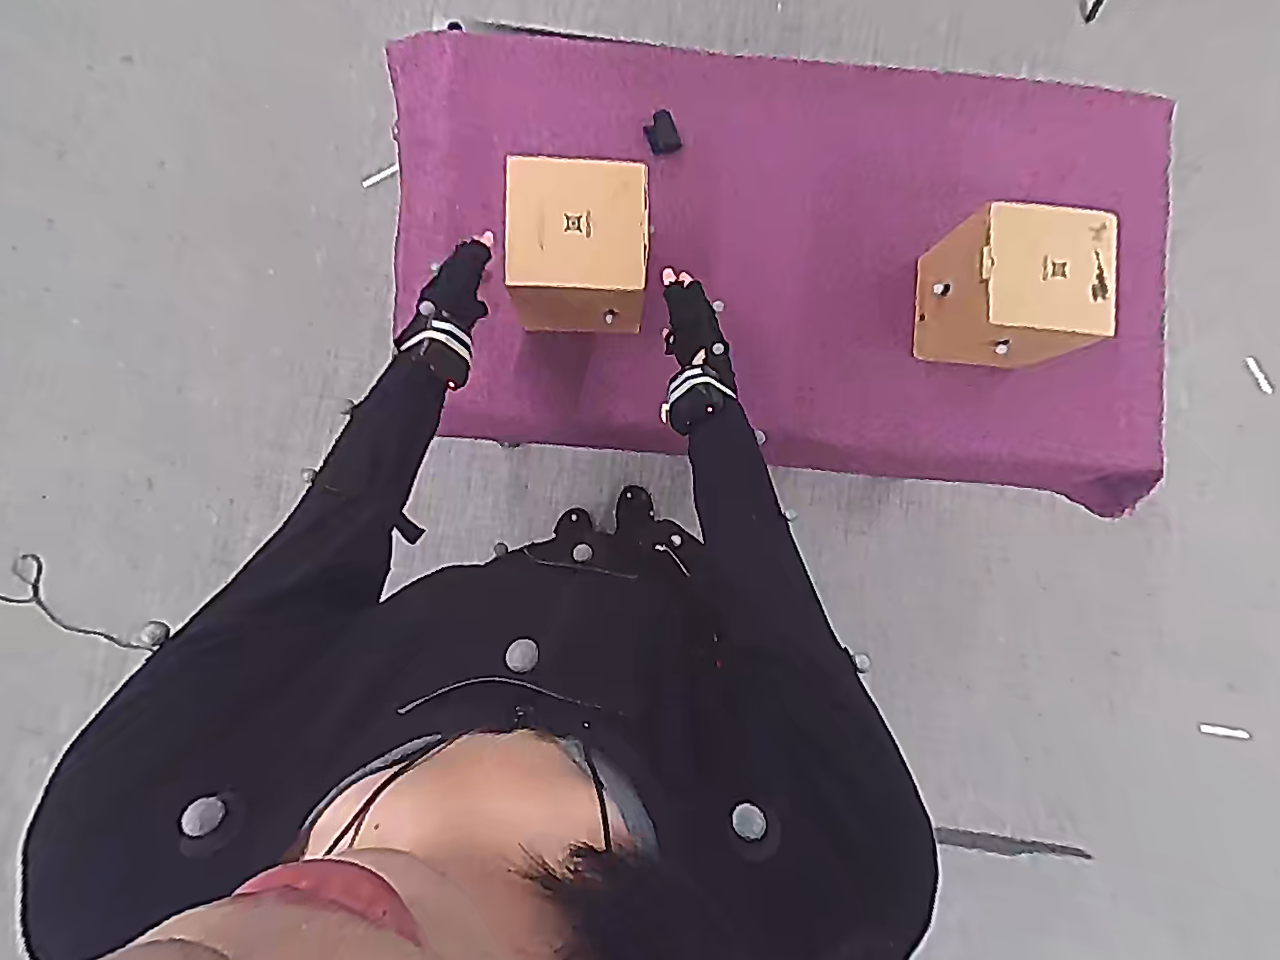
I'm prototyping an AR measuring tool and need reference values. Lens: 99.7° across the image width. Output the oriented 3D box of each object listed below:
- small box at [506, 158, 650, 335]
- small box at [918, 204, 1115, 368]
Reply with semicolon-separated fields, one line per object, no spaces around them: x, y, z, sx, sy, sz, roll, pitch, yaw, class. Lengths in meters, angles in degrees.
-0.081;-0.308;0.746;0.179;0.176;0.168;1;85;-3;small box
0.527;-0.267;0.779;0.179;0.176;0.168;4;86;-2;small box
